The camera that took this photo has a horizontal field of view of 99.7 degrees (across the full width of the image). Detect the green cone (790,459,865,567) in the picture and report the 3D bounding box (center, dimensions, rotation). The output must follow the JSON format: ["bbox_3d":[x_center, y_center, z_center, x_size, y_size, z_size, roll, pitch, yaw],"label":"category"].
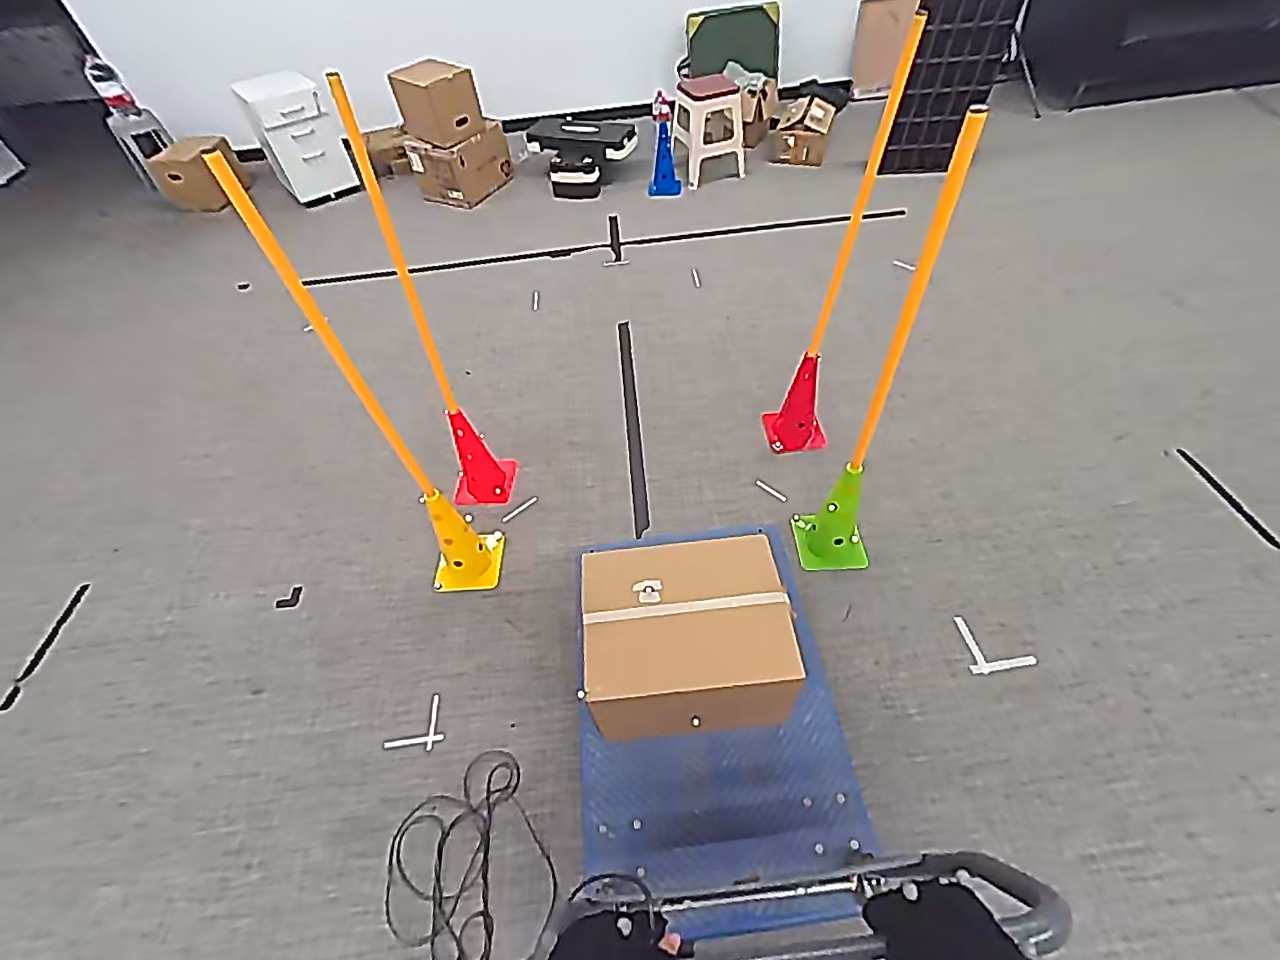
[{"bbox_3d":[0.575,0.075,1.560,0.202,0.368,0.200,-3,51,1],"label":"green cone"}]

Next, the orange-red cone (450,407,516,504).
[{"bbox_3d":[-0.563,-0.103,1.809,0.198,0.360,0.199,0,50,4],"label":"orange-red cone"}]

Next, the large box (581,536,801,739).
[{"bbox_3d":[0.097,0.354,1.191,0.408,0.320,0.320,-7,51,1],"label":"large box"}]

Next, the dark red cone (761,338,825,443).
[{"bbox_3d":[0.551,-0.312,1.853,0.201,0.394,0.202,-5,51,-2],"label":"dark red cone"}]
